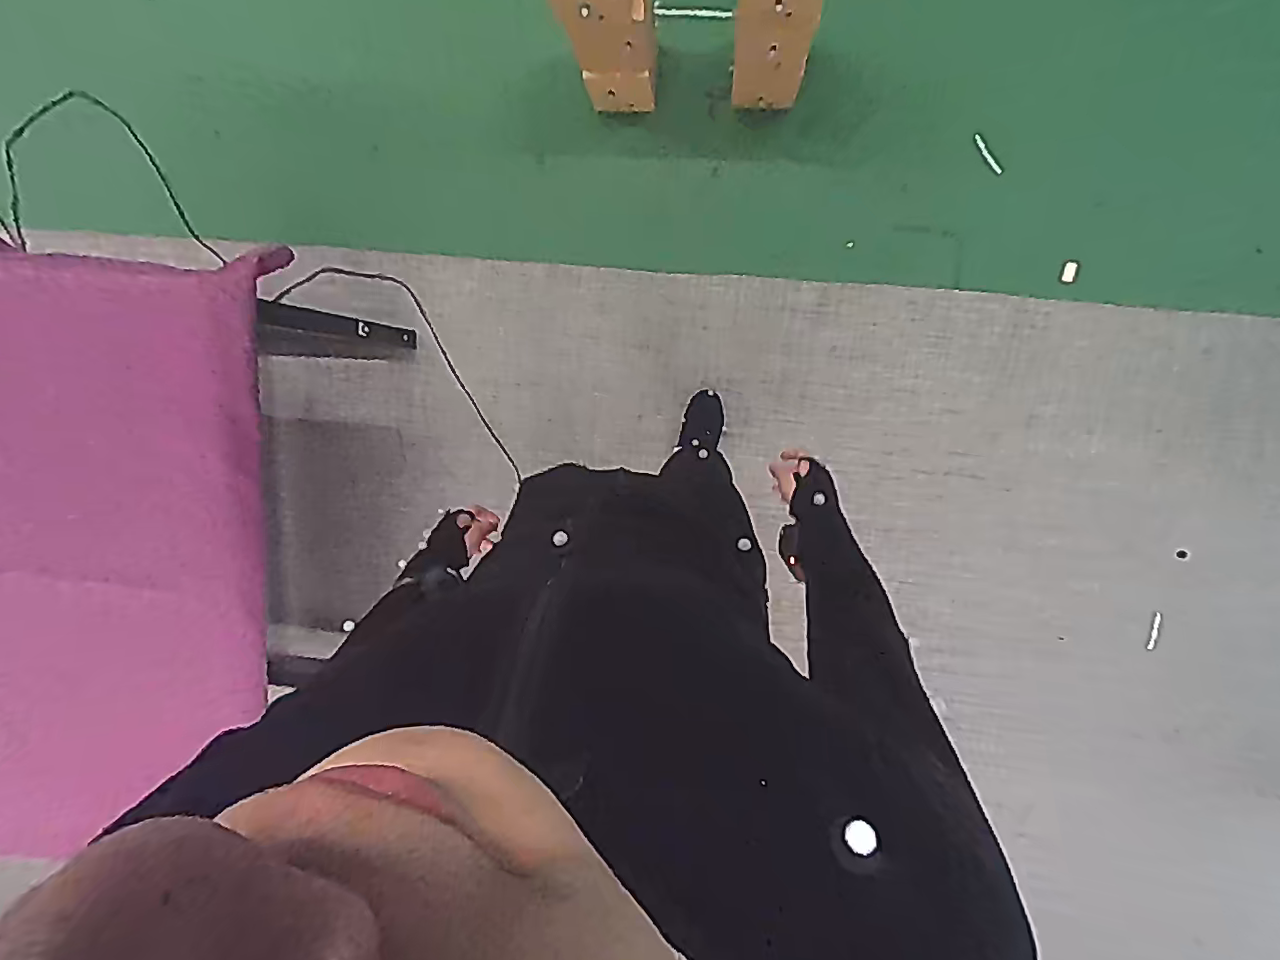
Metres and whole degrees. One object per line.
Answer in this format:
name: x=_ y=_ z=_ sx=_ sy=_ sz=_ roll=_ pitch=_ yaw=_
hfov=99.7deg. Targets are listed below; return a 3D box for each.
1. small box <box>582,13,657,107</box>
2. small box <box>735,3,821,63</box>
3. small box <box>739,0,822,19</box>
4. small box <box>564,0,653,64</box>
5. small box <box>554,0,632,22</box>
small box: x=-0.048 y=-1.080 z=1.373 sx=0.168 sy=0.176 sz=0.179 roll=4 pitch=99 yaw=6
small box: x=0.302 y=-1.045 z=1.171 sx=0.168 sy=0.176 sz=0.179 roll=6 pitch=101 yaw=4
small box: x=0.281 y=-1.020 z=1.009 sx=0.168 sy=0.176 sz=0.179 roll=8 pitch=101 yaw=5
small box: x=-0.065 y=-1.071 z=1.211 sx=0.179 sy=0.176 sz=0.168 roll=3 pitch=98 yaw=7
small box: x=-0.100 y=-1.049 z=1.052 sx=0.168 sy=0.176 sz=0.179 roll=7 pitch=99 yaw=6
